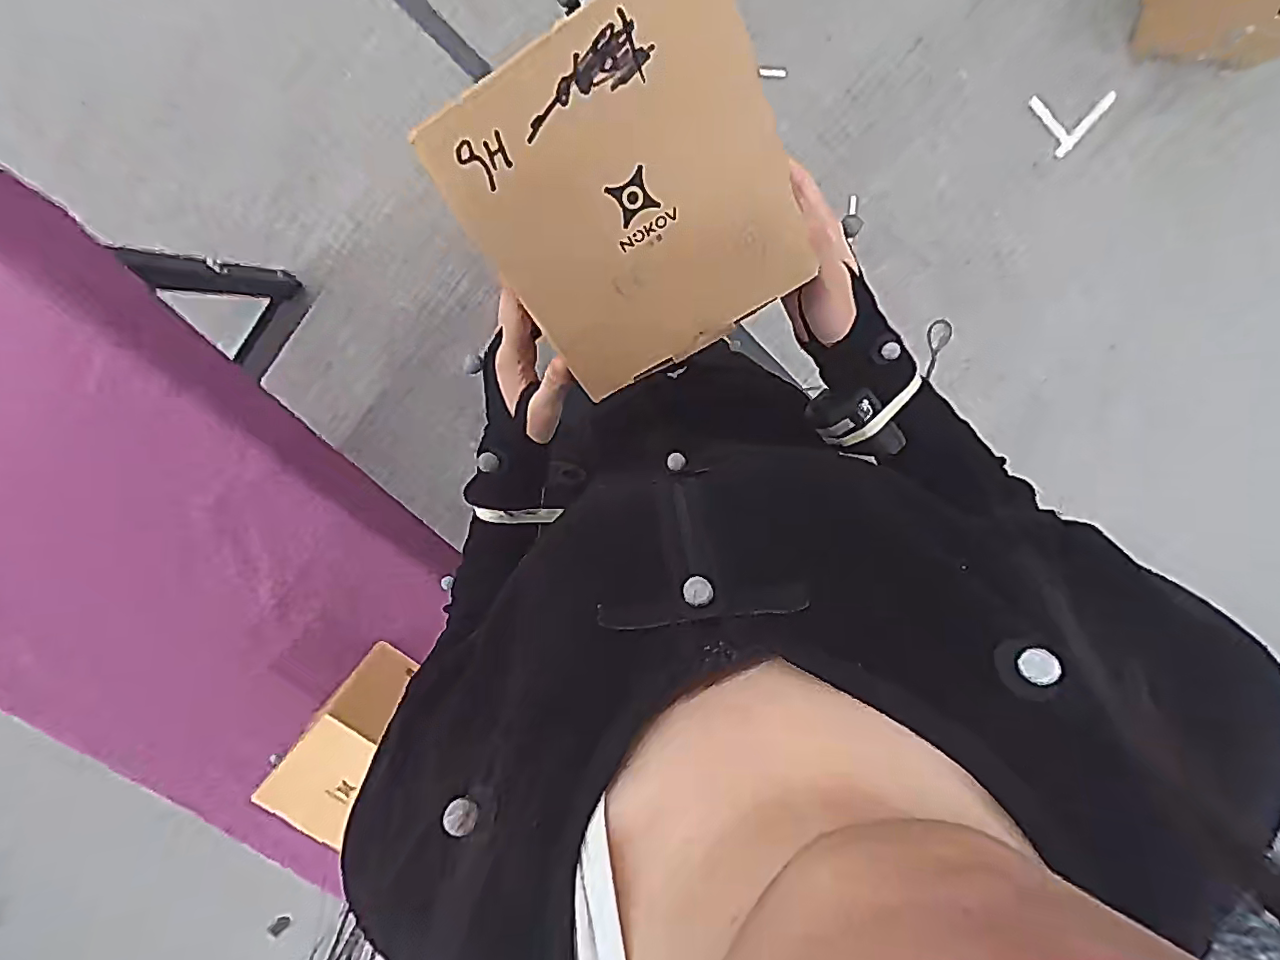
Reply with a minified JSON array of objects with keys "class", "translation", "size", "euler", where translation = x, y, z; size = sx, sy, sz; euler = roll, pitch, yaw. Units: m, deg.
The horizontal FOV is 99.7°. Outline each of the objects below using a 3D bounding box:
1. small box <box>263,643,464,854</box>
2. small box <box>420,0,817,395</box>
[{"class":"small box","translation":[-0.375,0.371,0.775],"size":[0.168,0.176,0.179],"euler":[40,102,-12]},{"class":"small box","translation":[-0.010,-0.196,0.361],"size":[0.168,0.176,0.179],"euler":[-28,127,11]}]
